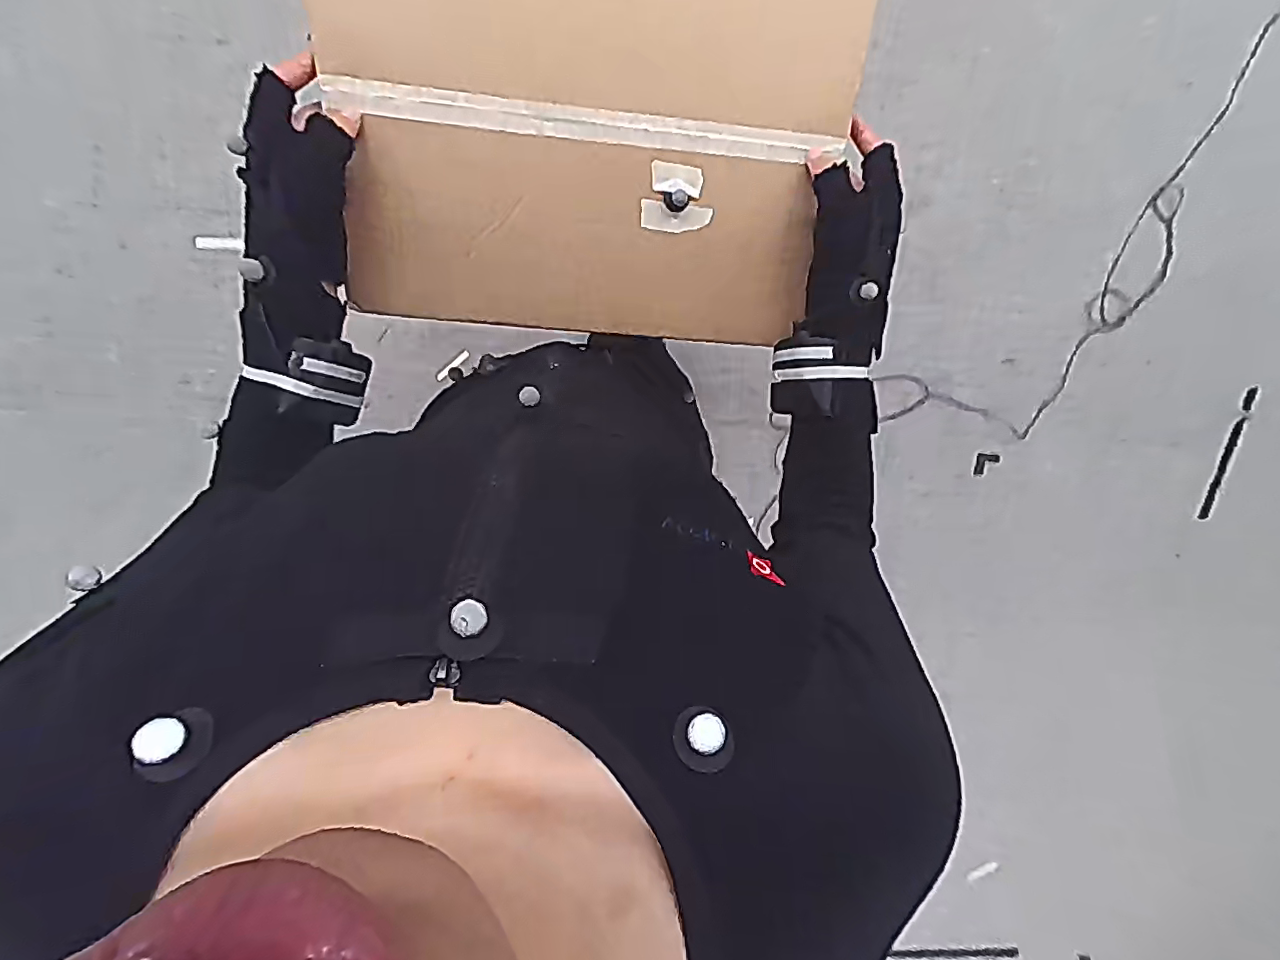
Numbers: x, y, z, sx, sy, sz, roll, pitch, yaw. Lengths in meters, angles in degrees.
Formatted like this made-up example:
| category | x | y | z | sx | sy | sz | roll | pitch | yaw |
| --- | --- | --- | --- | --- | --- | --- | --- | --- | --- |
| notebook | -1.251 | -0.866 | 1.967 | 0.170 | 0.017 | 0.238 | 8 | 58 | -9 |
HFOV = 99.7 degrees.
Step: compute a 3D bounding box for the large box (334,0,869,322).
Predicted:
| category | x | y | z | sx | sy | sz | roll | pitch | yaw |
| --- | --- | --- | --- | --- | --- | --- | --- | --- | --- |
| large box | -0.042 | -0.353 | 0.564 | 0.408 | 0.320 | 0.320 | 2 | 115 | -7 |
